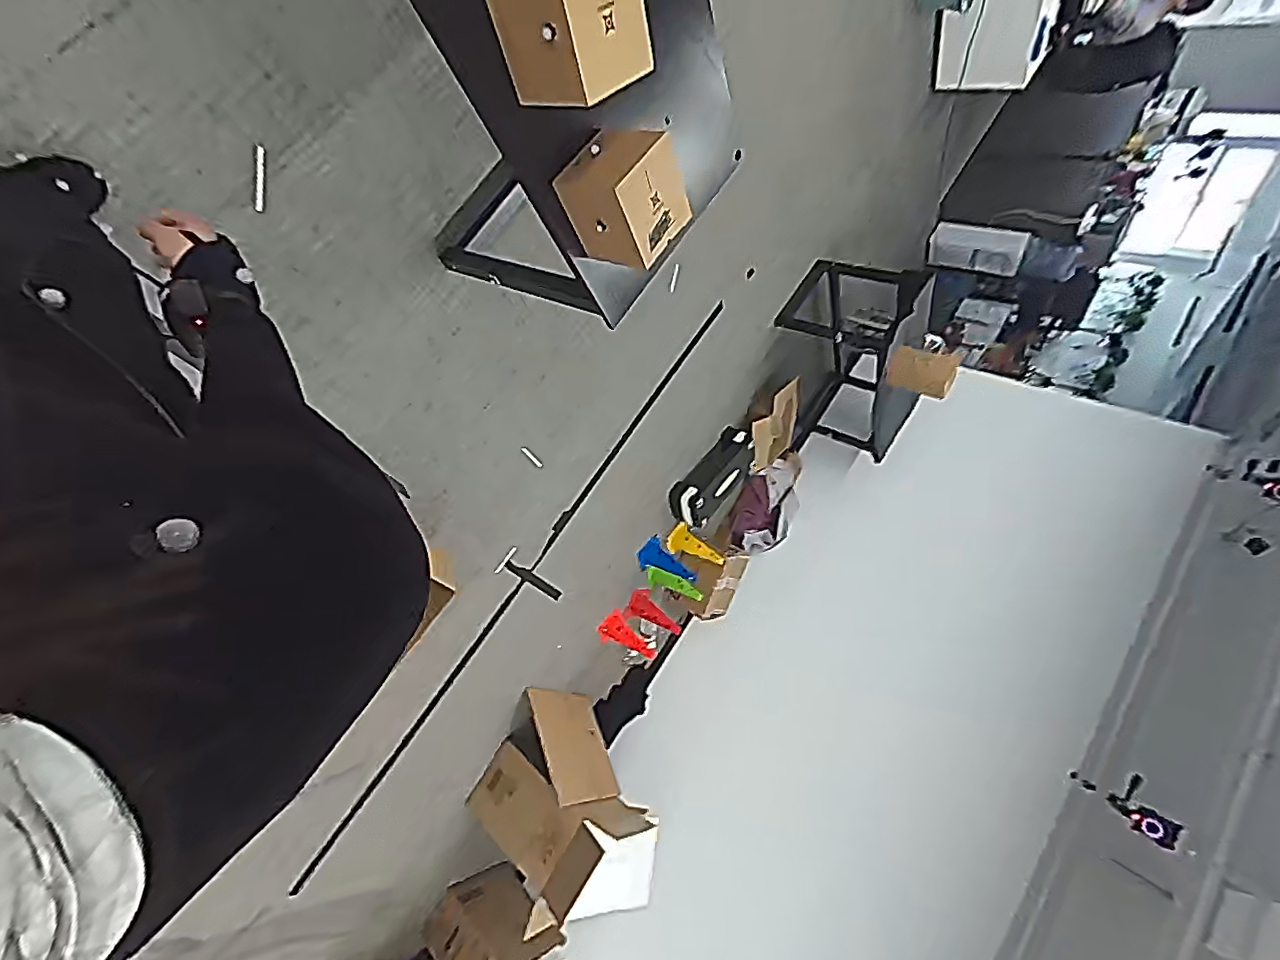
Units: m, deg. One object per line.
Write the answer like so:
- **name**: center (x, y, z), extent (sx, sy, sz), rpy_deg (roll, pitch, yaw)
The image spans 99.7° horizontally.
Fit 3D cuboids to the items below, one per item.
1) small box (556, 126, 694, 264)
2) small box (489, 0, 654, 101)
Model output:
- **small box**: center (-0.027, -0.553, 1.044), extent (0.168, 0.176, 0.179), rpy_deg (-55, 145, -14)
- **small box**: center (-0.107, -0.711, 0.827), extent (0.168, 0.176, 0.179), rpy_deg (-48, 144, -23)
